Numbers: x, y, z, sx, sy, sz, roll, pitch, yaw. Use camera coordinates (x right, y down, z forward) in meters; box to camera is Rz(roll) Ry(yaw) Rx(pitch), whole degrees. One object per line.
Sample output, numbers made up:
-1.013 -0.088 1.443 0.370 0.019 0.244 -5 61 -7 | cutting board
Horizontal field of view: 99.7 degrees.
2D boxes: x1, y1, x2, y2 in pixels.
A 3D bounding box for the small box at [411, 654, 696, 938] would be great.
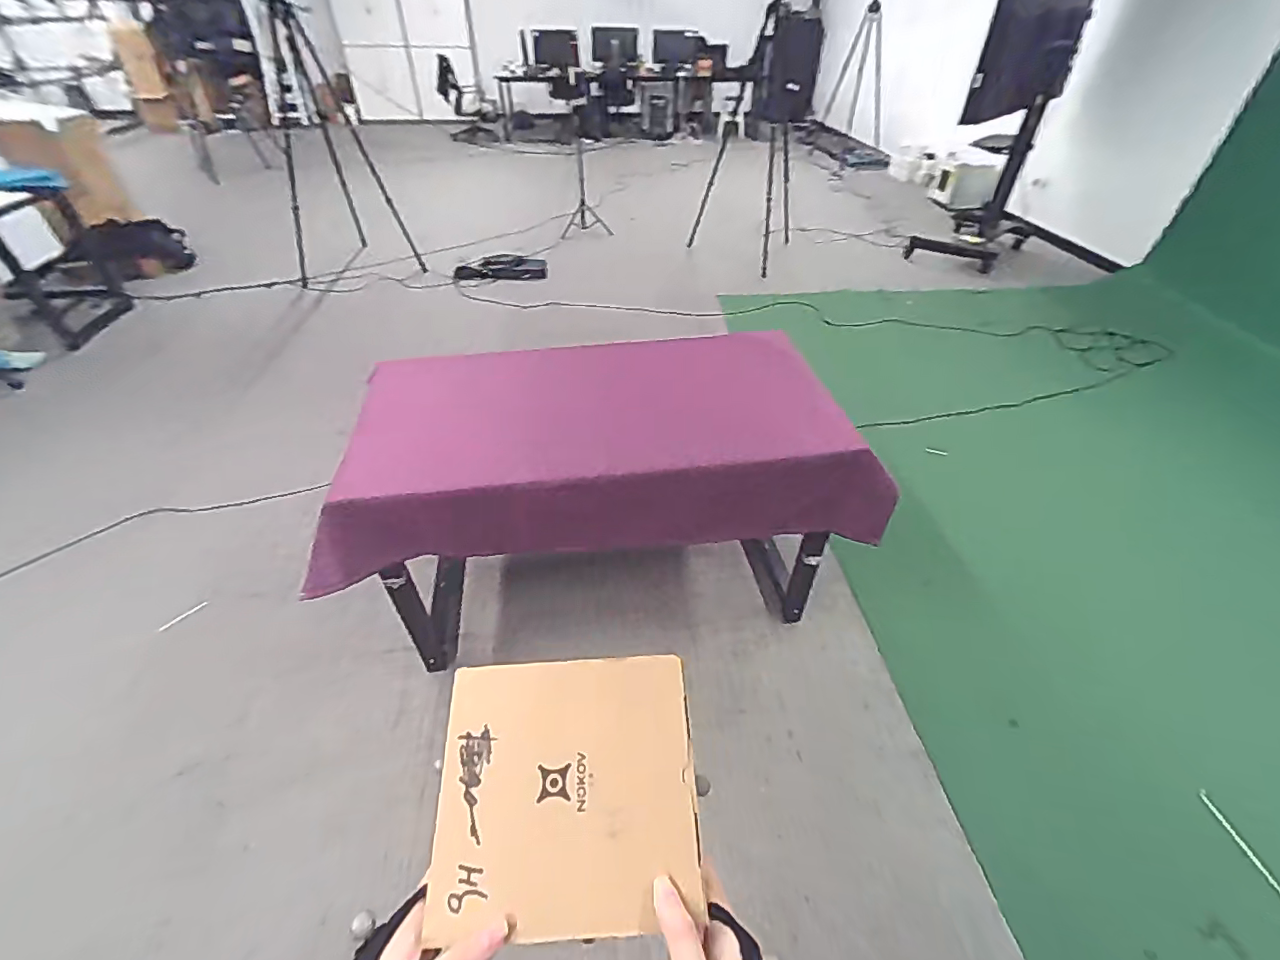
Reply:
-0.055 0.248 0.437 0.179 0.176 0.168 -3 56 -1 | small box
